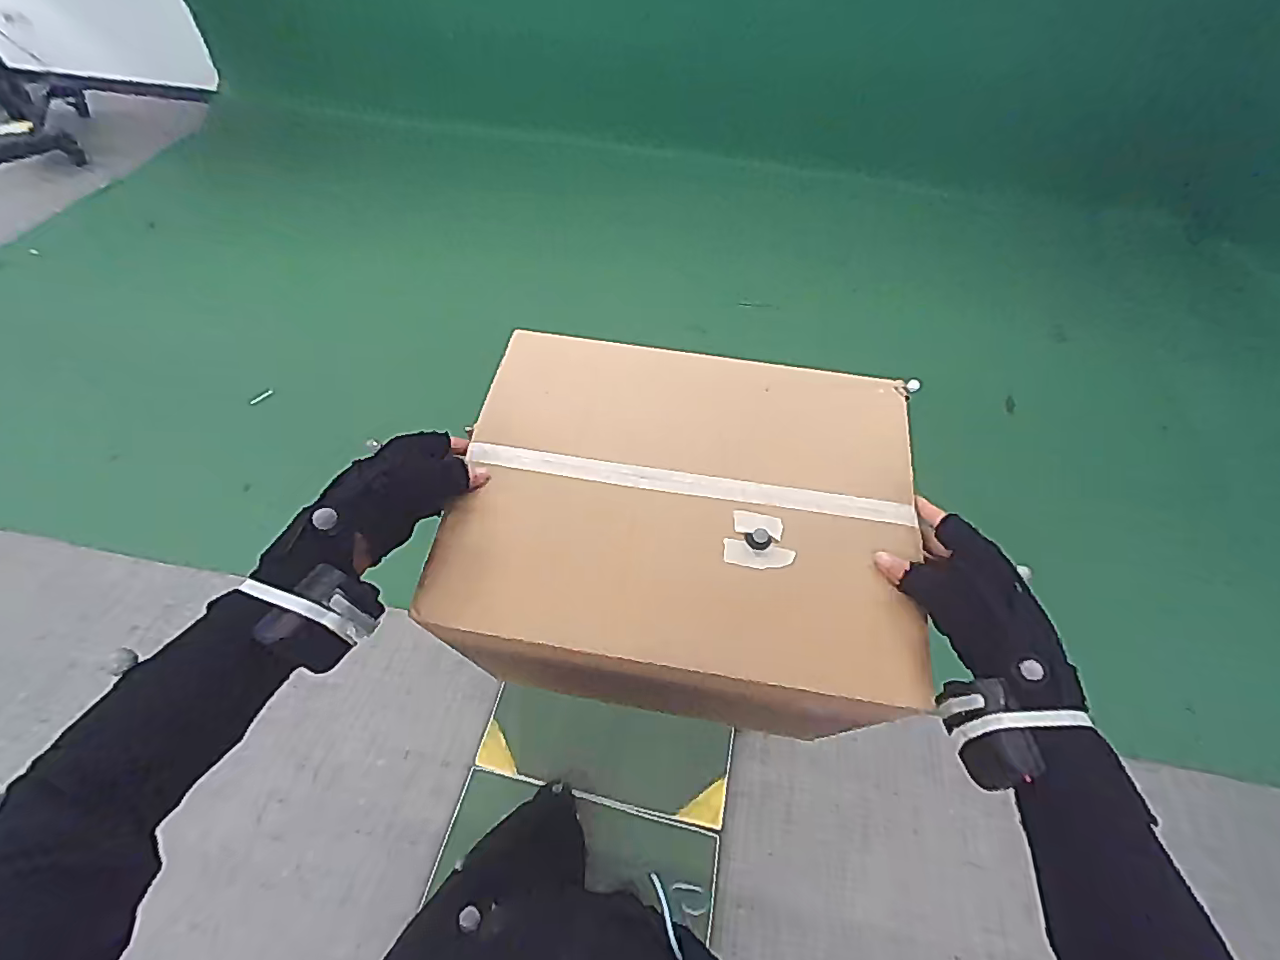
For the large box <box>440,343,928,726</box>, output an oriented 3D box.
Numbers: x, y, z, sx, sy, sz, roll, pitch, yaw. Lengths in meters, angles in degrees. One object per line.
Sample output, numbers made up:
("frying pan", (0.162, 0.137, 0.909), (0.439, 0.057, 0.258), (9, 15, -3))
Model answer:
("large box", (0.047, 0.080, 0.632), (0.408, 0.320, 0.320), (9, 62, 3))
